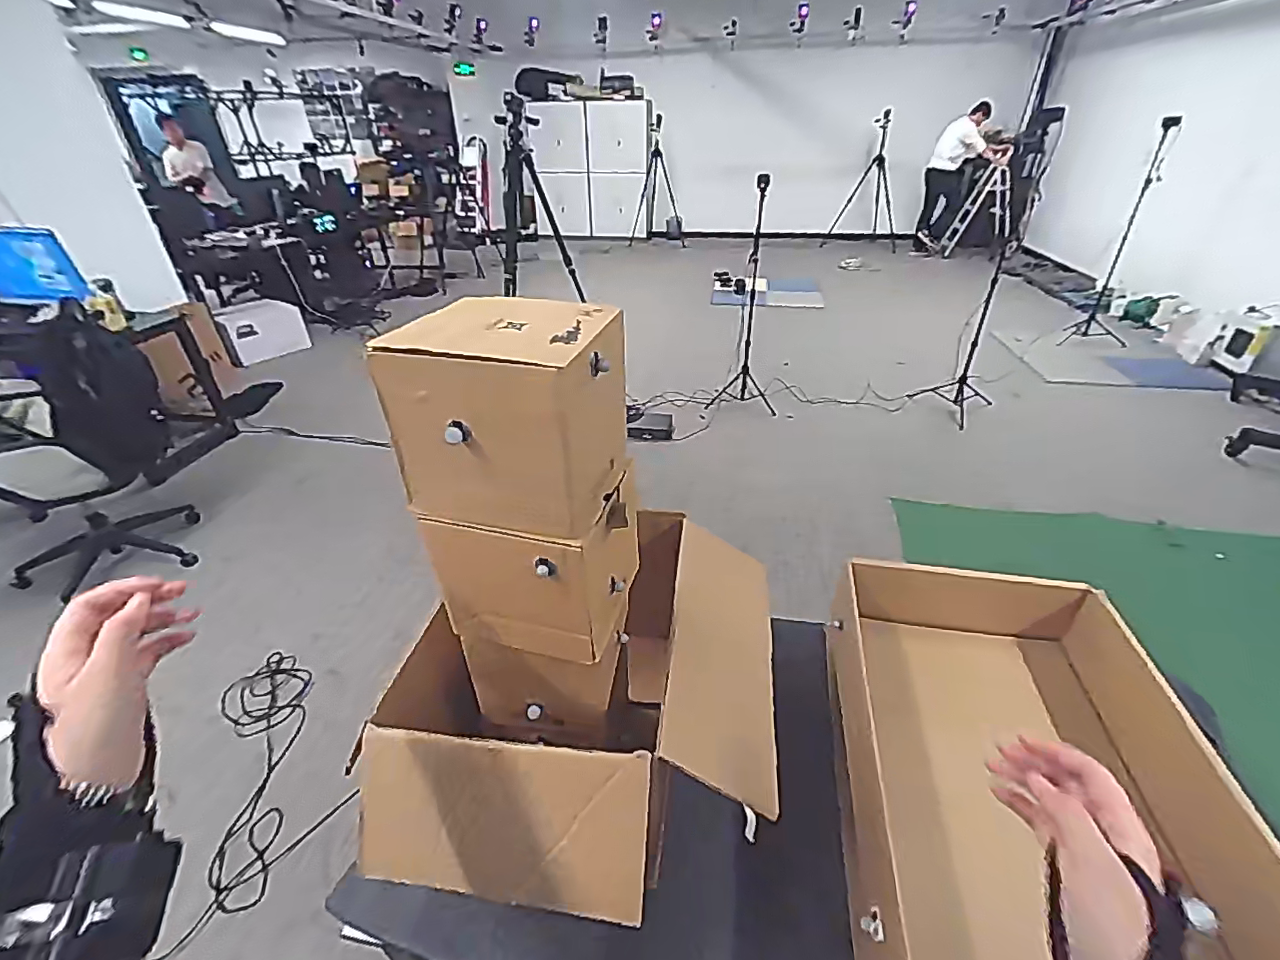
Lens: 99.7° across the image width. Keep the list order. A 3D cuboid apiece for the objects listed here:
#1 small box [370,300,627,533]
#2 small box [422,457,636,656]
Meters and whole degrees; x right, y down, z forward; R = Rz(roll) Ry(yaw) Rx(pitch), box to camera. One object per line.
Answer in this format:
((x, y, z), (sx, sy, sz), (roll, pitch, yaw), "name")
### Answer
((-0.117, -0.066, 0.528), (0.179, 0.176, 0.168), (7, 35, 12), "small box")
((-0.109, 0.074, 0.614), (0.179, 0.176, 0.168), (9, 35, 13), "small box")
